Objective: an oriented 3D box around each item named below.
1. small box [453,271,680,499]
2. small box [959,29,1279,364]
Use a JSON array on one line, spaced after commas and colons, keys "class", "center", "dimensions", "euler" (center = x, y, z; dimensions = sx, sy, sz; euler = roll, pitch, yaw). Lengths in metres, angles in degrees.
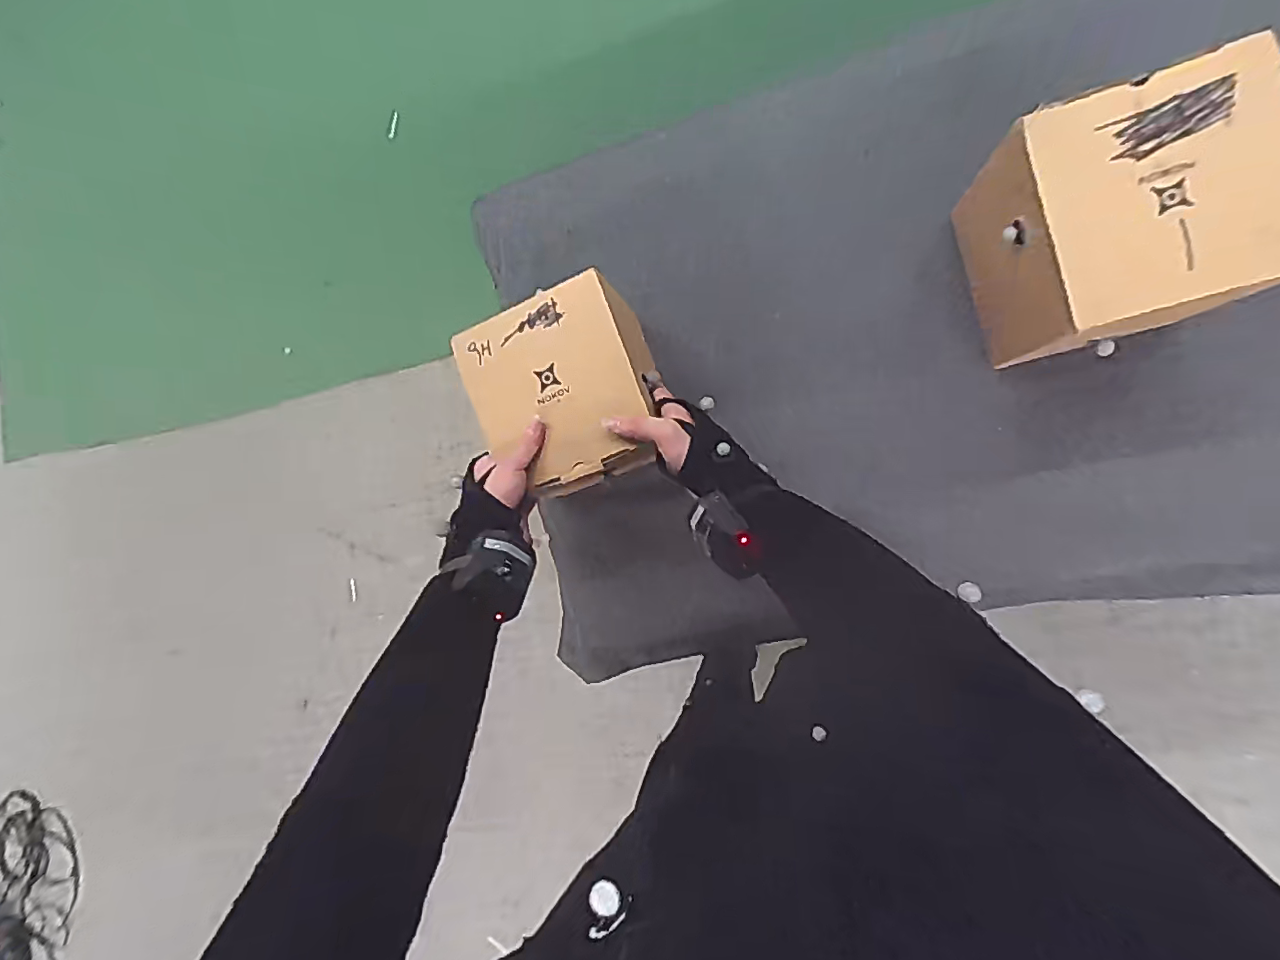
[{"class": "small box", "center": [-0.067, -0.092, 0.595], "dimensions": [0.168, 0.176, 0.179], "euler": [-21, 86, 13]}, {"class": "small box", "center": [0.408, -0.219, 0.474], "dimensions": [0.168, 0.176, 0.179], "euler": [-14, 88, 14]}]
